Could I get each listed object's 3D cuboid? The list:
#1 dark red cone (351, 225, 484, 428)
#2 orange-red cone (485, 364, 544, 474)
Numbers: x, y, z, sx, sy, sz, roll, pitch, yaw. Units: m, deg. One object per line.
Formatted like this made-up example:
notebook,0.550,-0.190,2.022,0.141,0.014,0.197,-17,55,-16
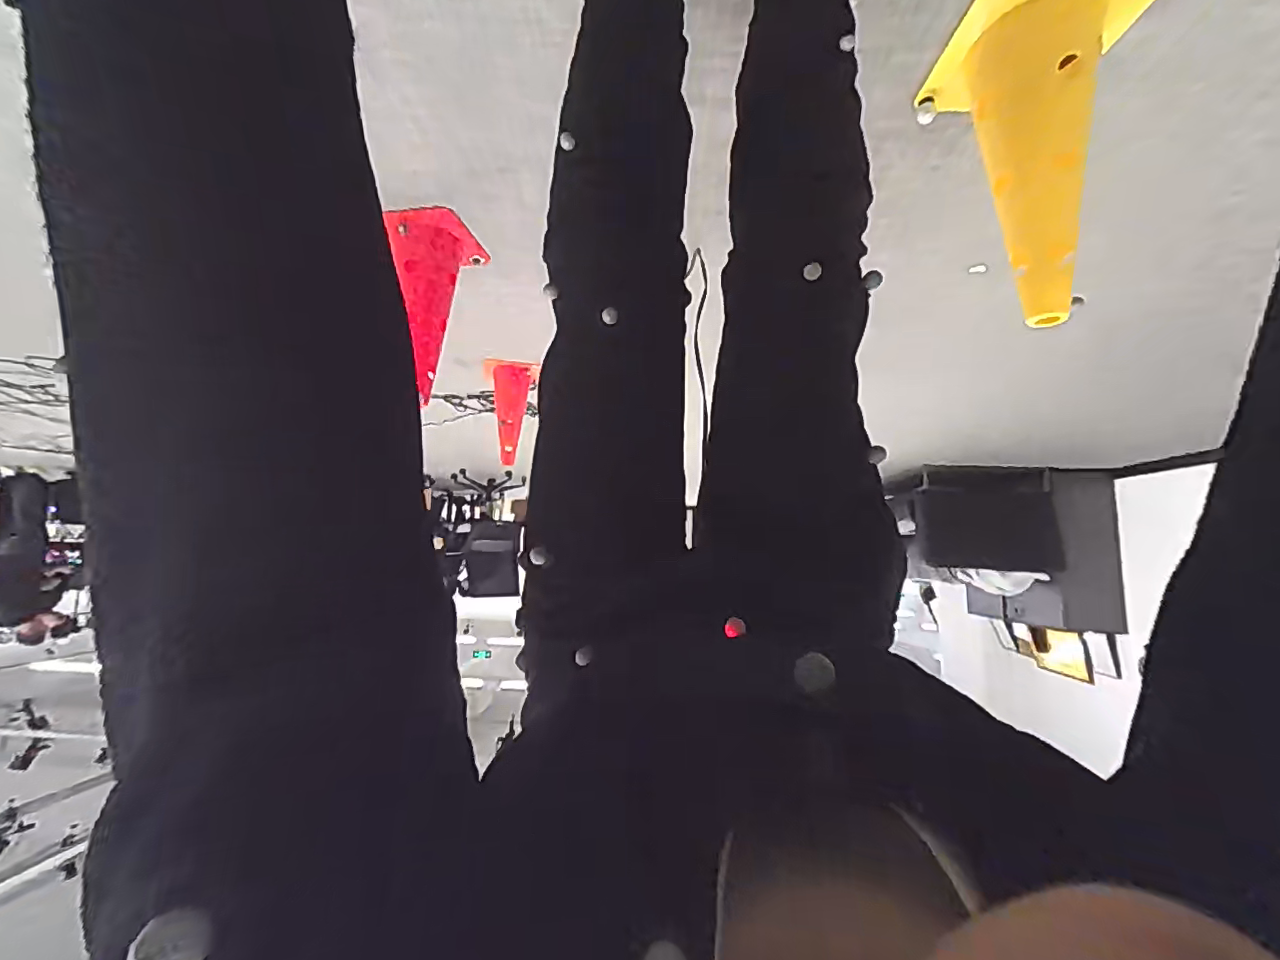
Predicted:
dark red cone,-0.453,-0.296,1.077,0.202,0.394,0.201,0,169,11
orange-red cone,-0.458,-0.202,1.907,0.199,0.360,0.198,5,170,-16
